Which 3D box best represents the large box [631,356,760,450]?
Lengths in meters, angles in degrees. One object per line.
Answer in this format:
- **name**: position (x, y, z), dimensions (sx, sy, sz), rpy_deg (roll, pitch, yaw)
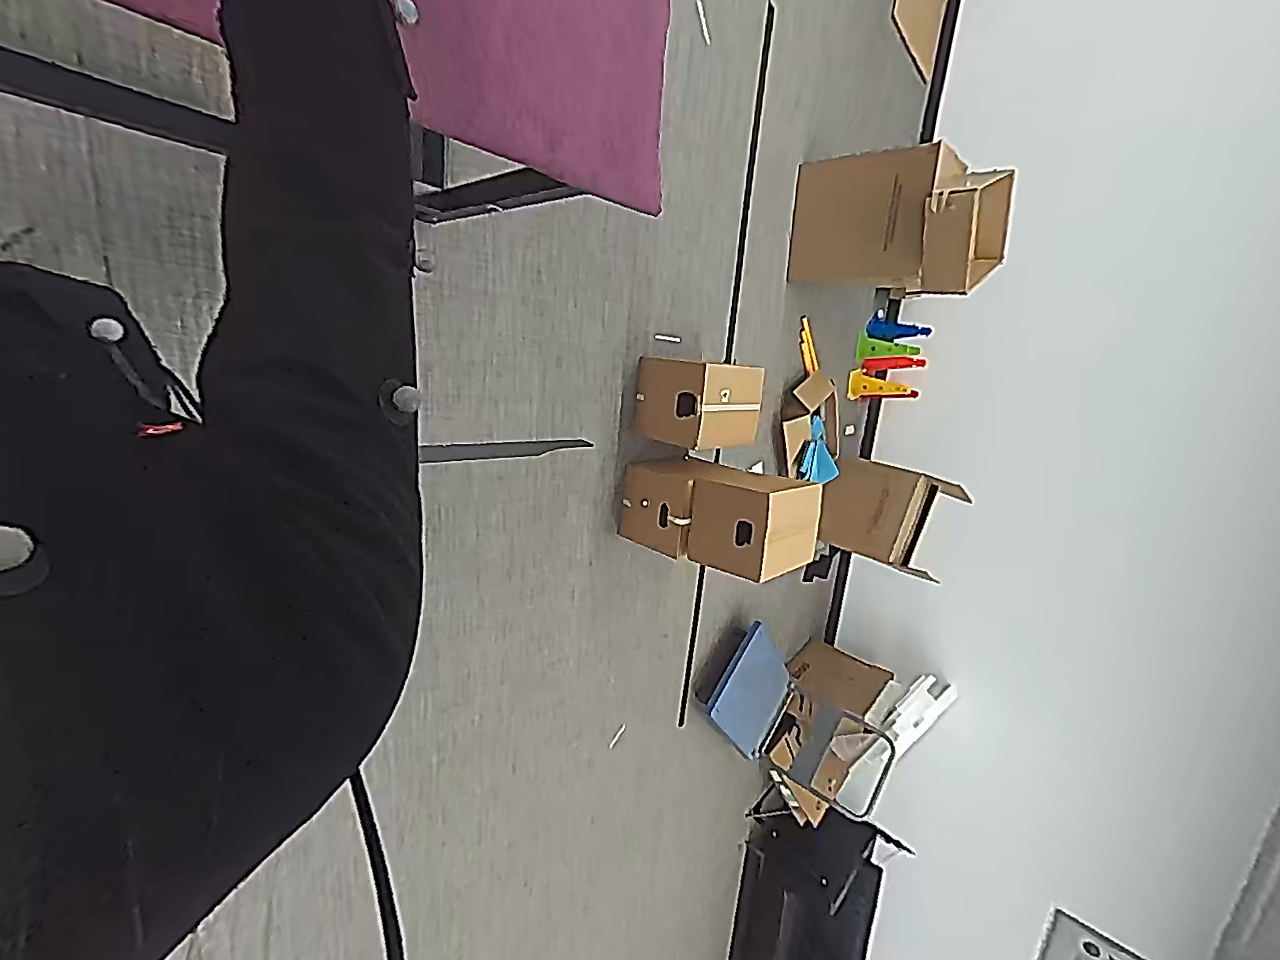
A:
- **large box**: position (0.219, -0.314, 2.126), dimensions (0.408, 0.320, 0.320), rpy_deg (-10, 110, -46)
